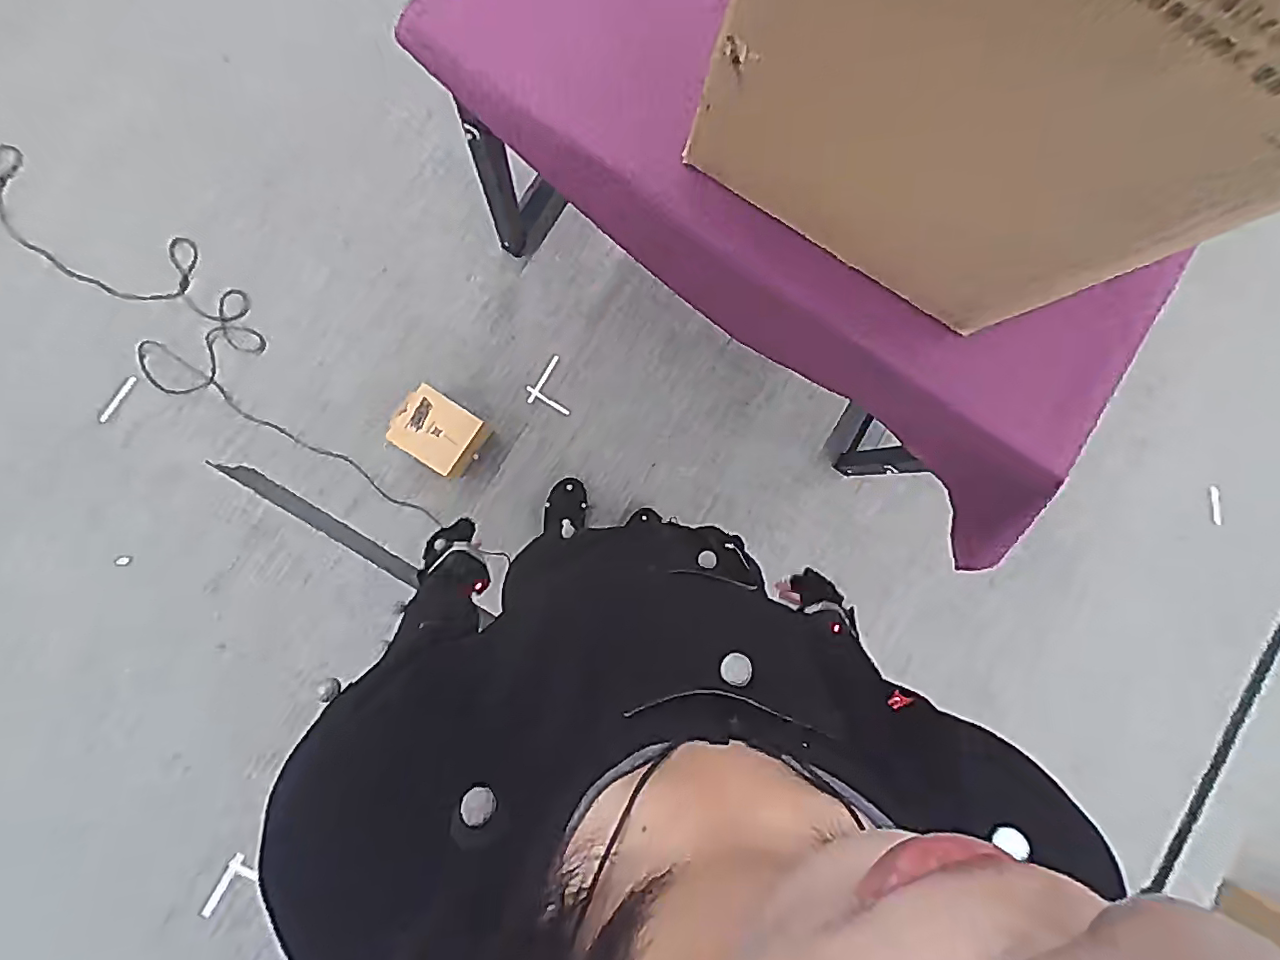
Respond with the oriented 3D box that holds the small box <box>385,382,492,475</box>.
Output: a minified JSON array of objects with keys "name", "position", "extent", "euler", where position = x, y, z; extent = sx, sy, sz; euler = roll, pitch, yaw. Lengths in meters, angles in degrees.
[{"name":"small box","position":[-0.505,-0.121,1.384],"extent":[0.179,0.176,0.168],"euler":[35,85,-4]}]
